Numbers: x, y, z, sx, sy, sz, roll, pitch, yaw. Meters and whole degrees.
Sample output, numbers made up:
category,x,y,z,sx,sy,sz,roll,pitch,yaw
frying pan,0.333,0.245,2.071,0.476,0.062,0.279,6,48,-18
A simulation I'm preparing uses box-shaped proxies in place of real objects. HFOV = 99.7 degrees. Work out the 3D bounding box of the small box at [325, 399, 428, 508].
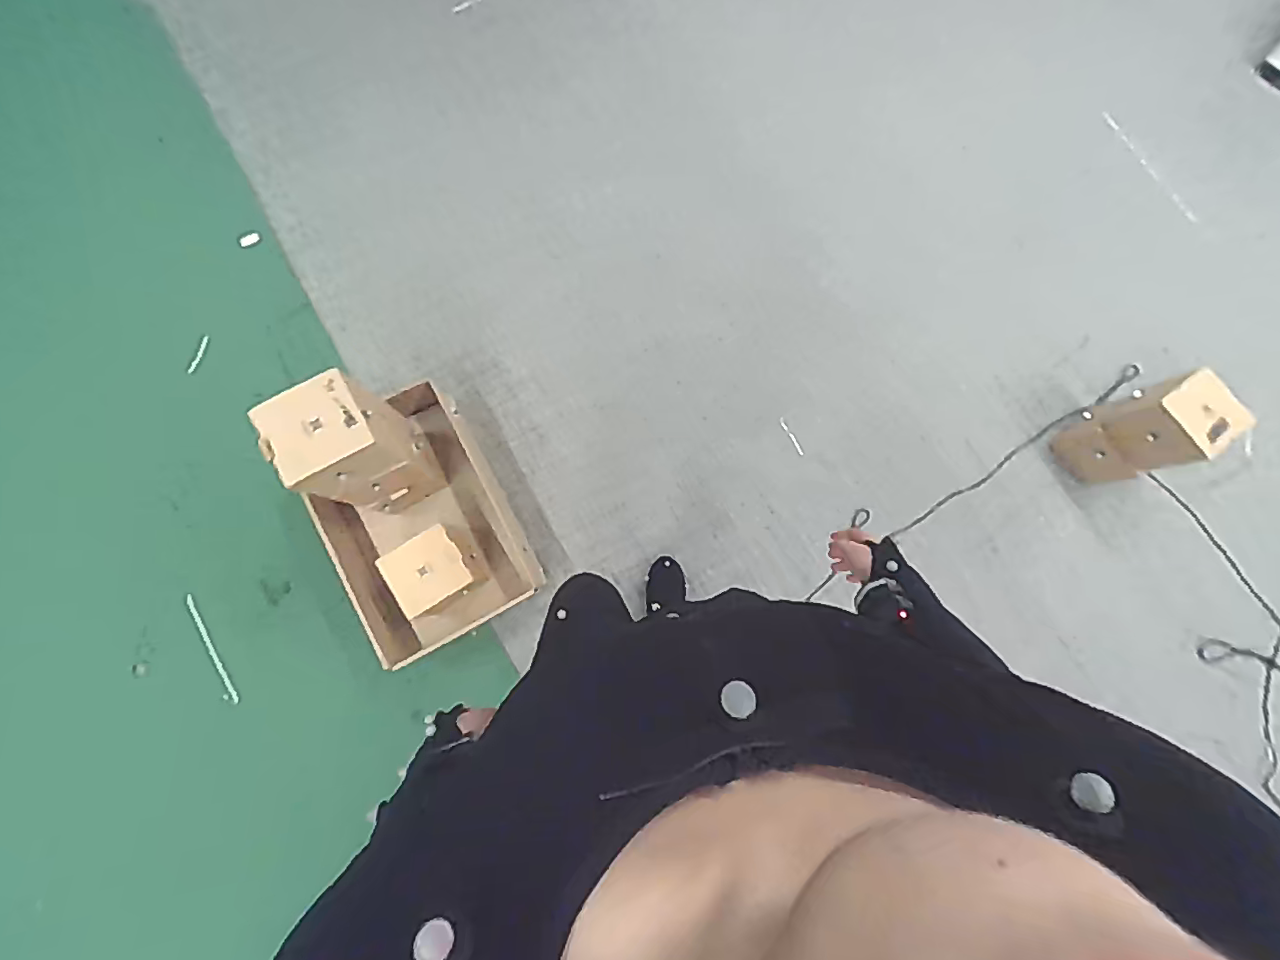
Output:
category,x,y,z,sx,sy,sz,roll,pitch,yaw
small box,-0.608,-0.051,1.211,0.179,0.176,0.168,-27,83,-8

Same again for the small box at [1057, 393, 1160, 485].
category,x,y,z,sx,sy,sz,roll,pitch,yaw
small box,1.326,-0.106,1.503,0.168,0.176,0.179,-39,84,-7

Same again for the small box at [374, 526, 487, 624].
category,x,y,z,sx,sy,sz,roll,pitch,yaw
small box,-0.505,0.236,1.327,0.179,0.176,0.168,-33,81,-8

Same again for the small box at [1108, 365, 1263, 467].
category,x,y,z,sx,sy,sz,roll,pitch,yaw
small box,1.344,-0.148,1.345,0.168,0.176,0.179,-35,82,-8

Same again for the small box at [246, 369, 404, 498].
category,x,y,z,sx,sy,sz,roll,pitch,yaw
small box,-0.599,-0.081,1.049,0.179,0.176,0.168,-30,83,-7
